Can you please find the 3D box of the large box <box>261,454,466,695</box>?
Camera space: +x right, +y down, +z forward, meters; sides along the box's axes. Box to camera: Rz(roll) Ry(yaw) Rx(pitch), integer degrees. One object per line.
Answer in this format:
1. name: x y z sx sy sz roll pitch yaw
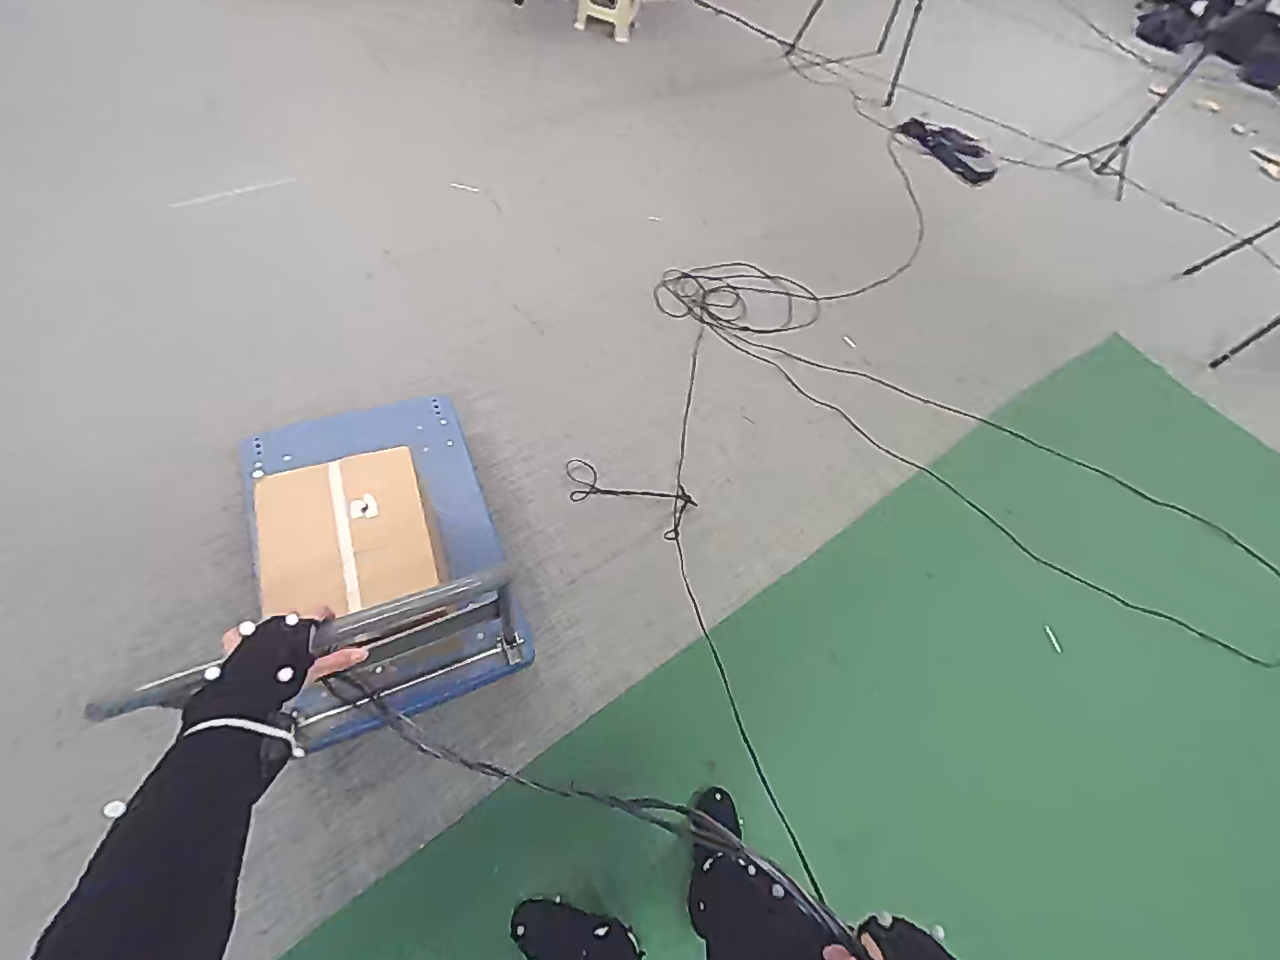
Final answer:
1. large box: -0.614 0.216 1.234 0.320 0.320 0.408 -14 62 -19
